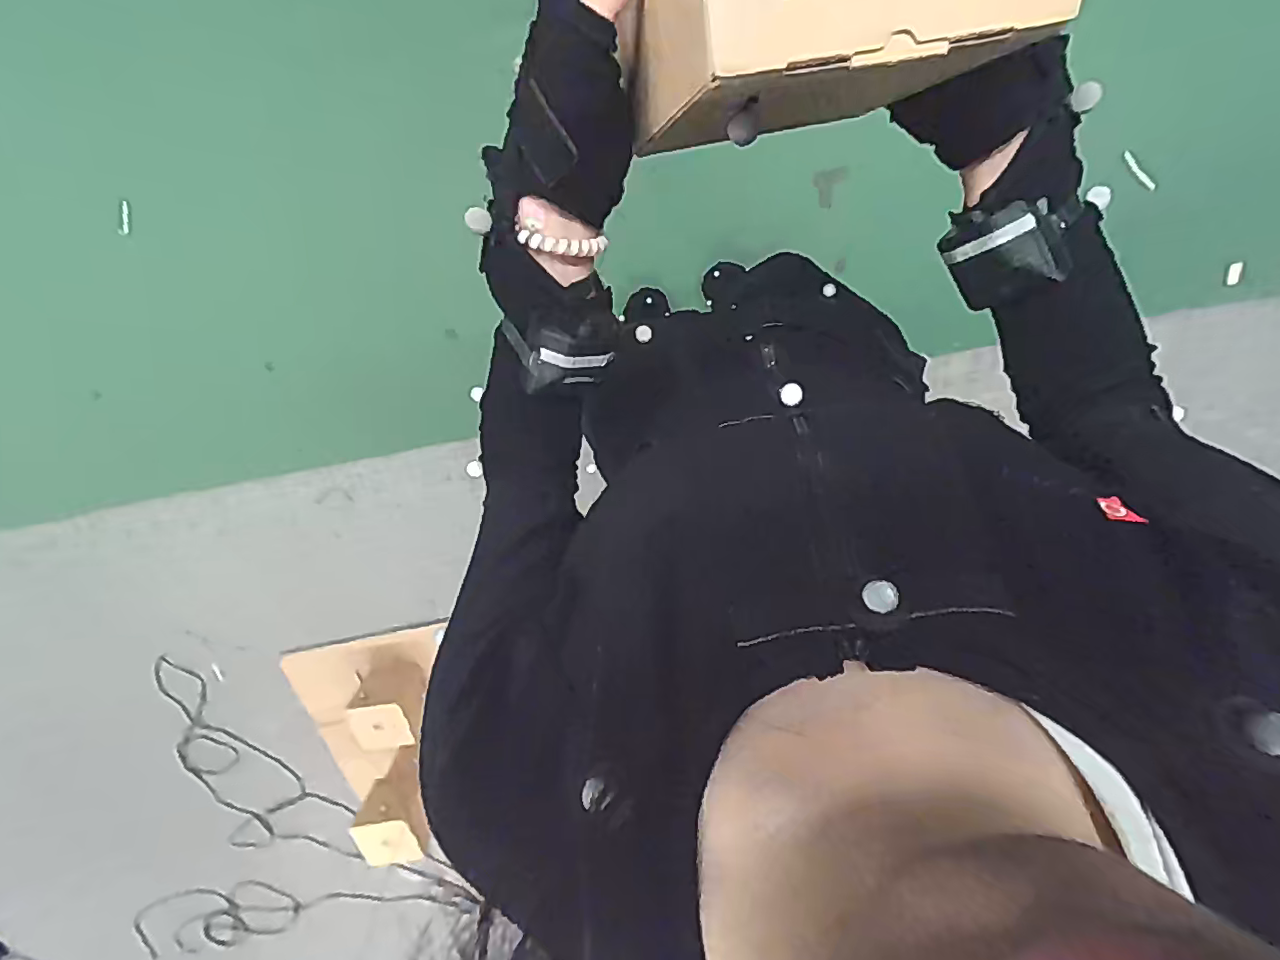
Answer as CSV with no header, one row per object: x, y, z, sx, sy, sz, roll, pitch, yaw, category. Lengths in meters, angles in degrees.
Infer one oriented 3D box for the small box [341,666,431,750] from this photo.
-0.784,0.708,1.688,0.179,0.176,0.168,-8,111,3,small box

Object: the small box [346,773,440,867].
-0.735,1.019,1.628,0.179,0.176,0.168,-12,110,5,small box
